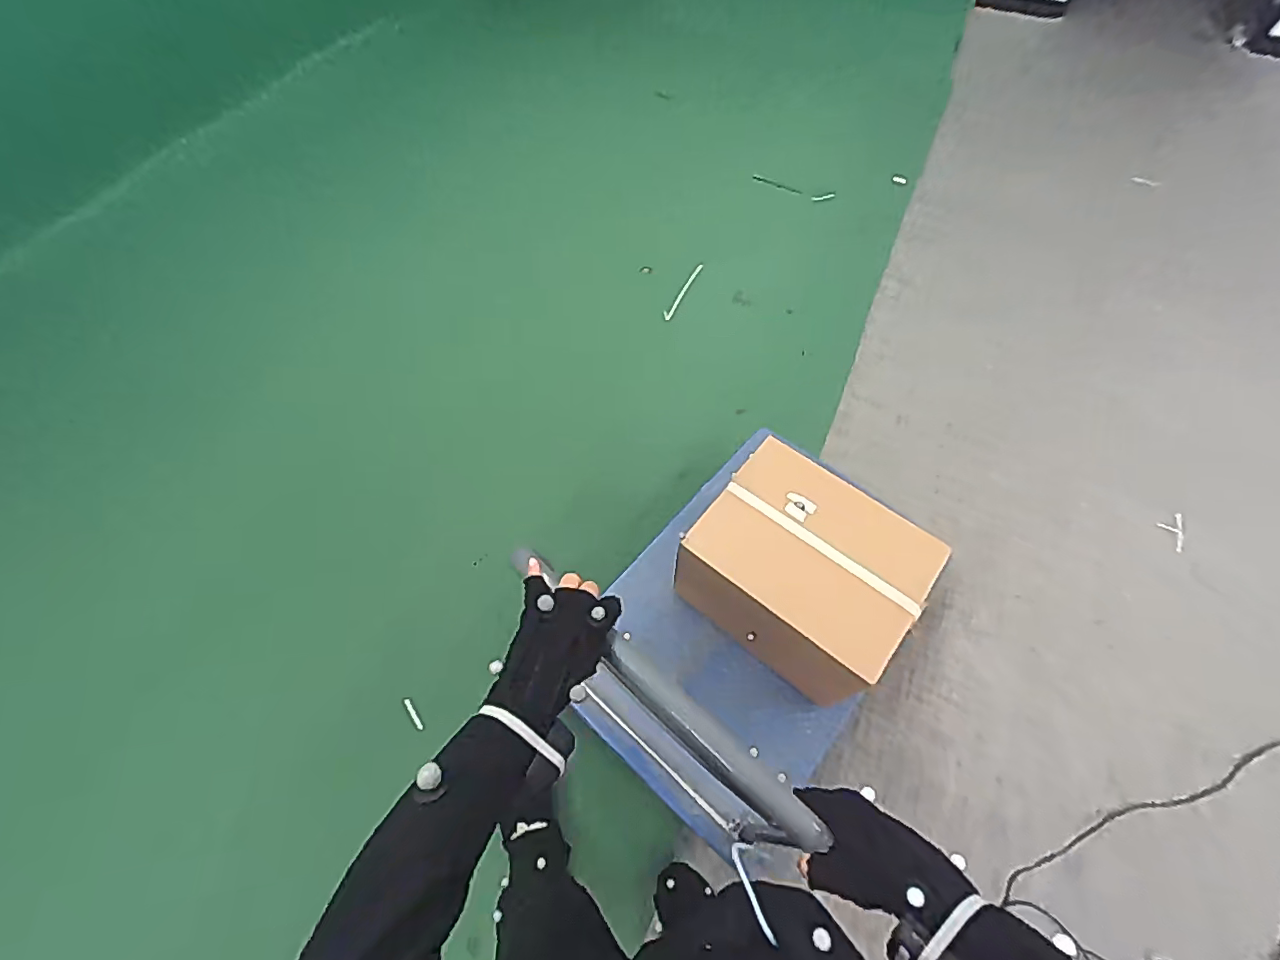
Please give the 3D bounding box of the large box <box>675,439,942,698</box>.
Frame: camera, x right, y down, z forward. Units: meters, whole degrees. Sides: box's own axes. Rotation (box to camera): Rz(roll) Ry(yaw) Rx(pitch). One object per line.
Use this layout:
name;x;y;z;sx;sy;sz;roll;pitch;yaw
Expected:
large box;0.323;0.193;1.144;0.408;0.320;0.320;35;67;19
